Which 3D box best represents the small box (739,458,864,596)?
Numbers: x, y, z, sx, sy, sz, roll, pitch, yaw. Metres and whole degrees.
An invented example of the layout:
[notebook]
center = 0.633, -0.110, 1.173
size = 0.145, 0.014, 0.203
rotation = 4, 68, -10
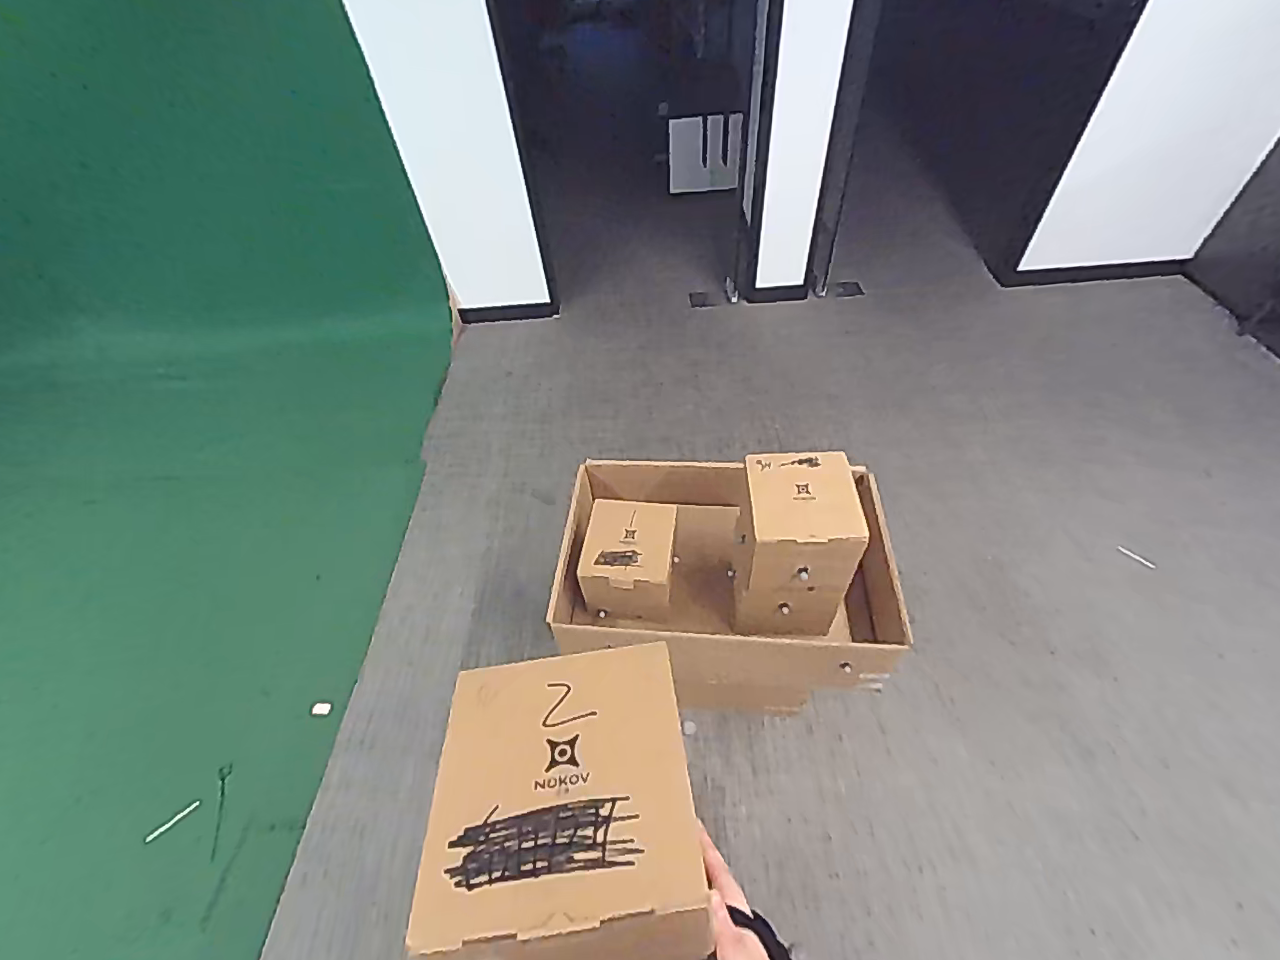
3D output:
[small box]
center = 0.258, 0.082, 0.906
size = 0.168, 0.176, 0.179
rotation = -1, 51, 5
